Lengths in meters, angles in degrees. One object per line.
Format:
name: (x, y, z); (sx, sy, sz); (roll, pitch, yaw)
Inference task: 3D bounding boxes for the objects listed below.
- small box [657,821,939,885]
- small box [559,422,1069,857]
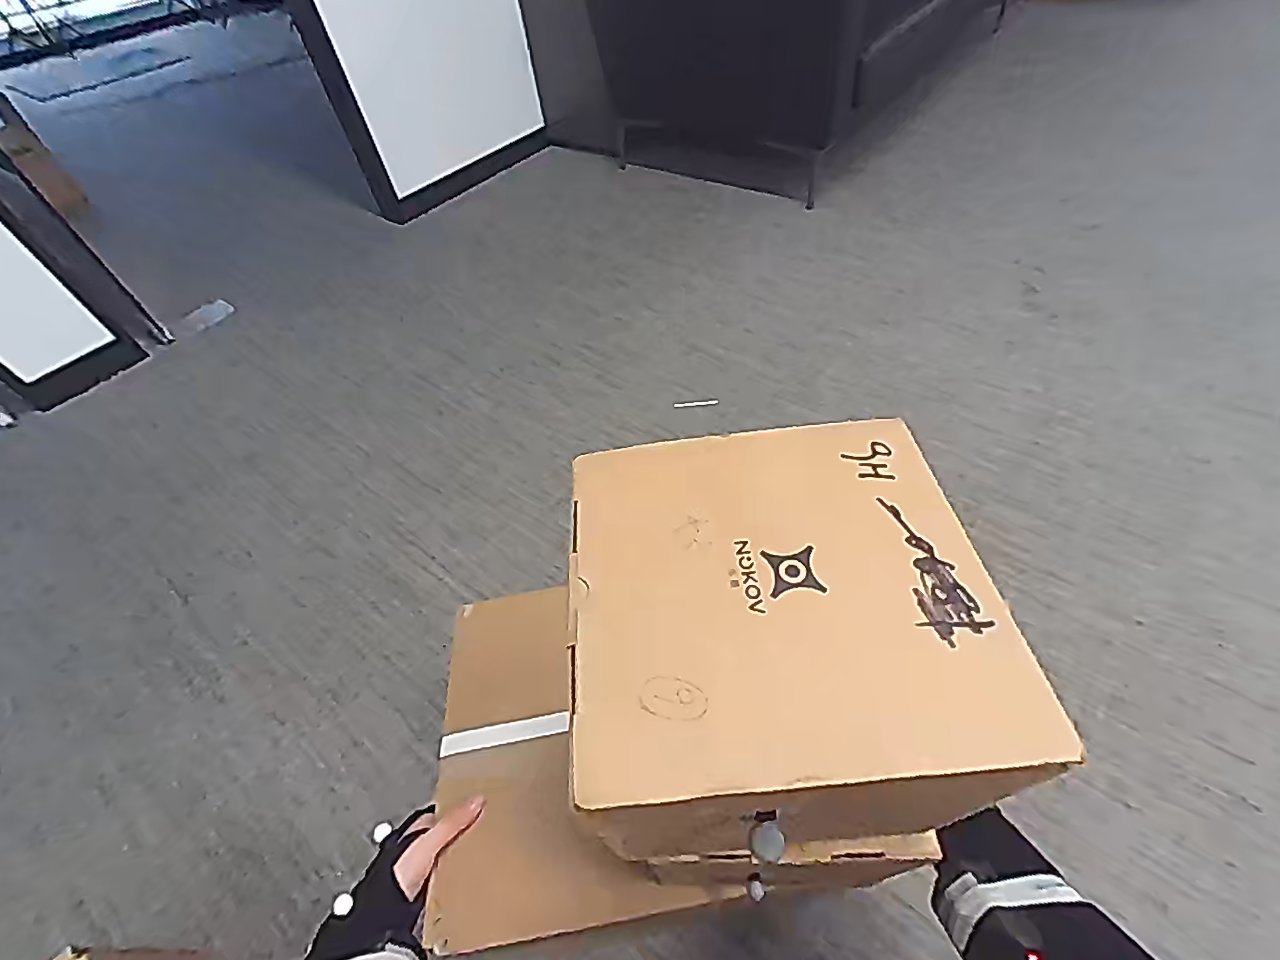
small box: (0.092, 0.198, 0.418); (0.168, 0.176, 0.179); (-3, 50, 5)
small box: (0.063, 0.093, 0.294); (0.179, 0.176, 0.168); (-7, 51, 2)
